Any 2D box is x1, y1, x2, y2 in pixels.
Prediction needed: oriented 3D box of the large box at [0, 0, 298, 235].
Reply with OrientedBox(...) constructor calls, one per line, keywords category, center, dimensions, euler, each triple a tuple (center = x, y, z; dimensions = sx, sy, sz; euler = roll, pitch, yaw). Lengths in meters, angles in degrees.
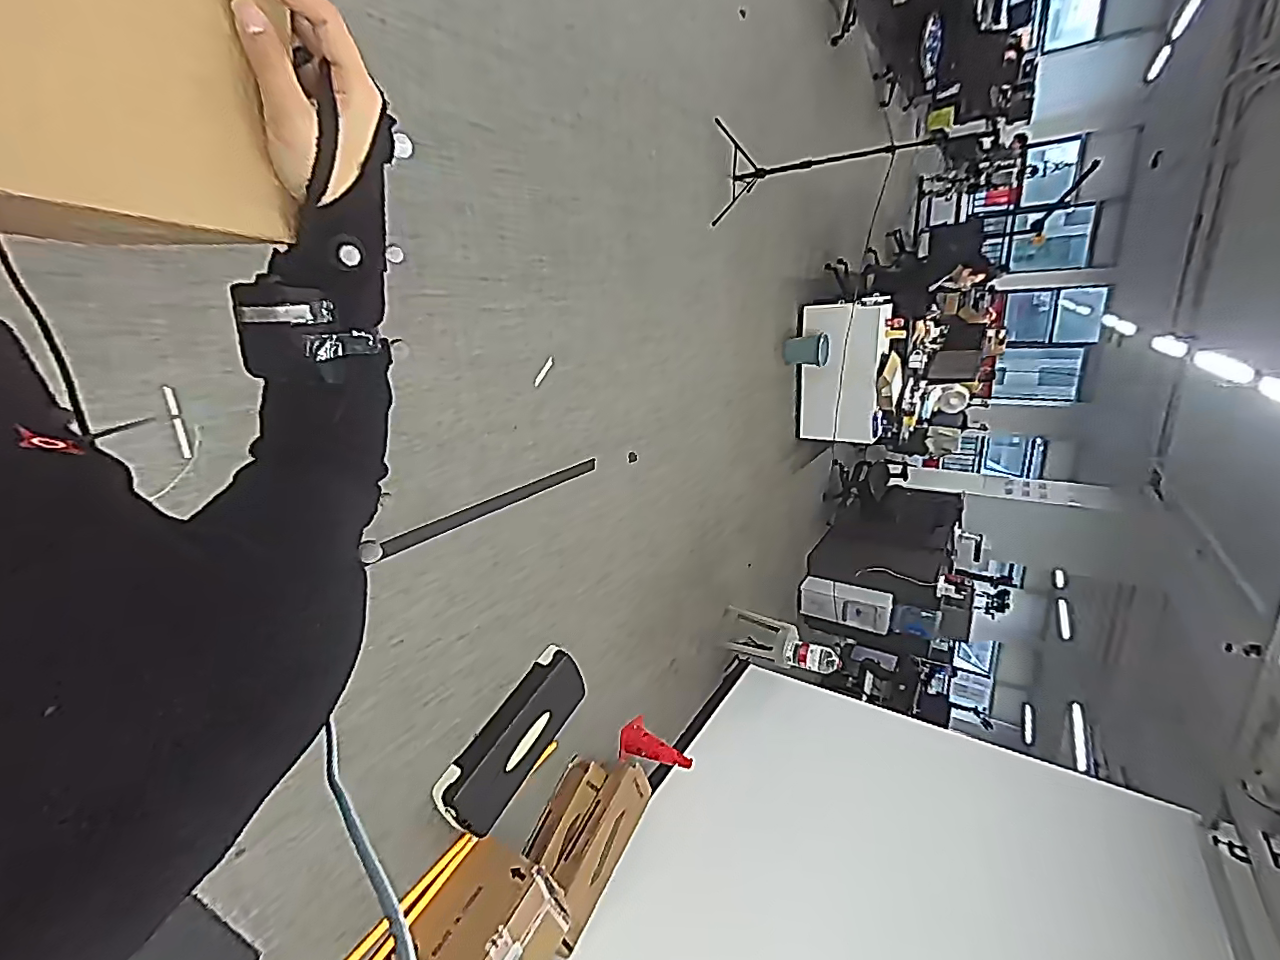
OrientedBox(category="large box", center=(-0.431, -0.291, 0.201), dimensions=(0.408, 0.320, 0.320), euler=(-21, 121, -58))
